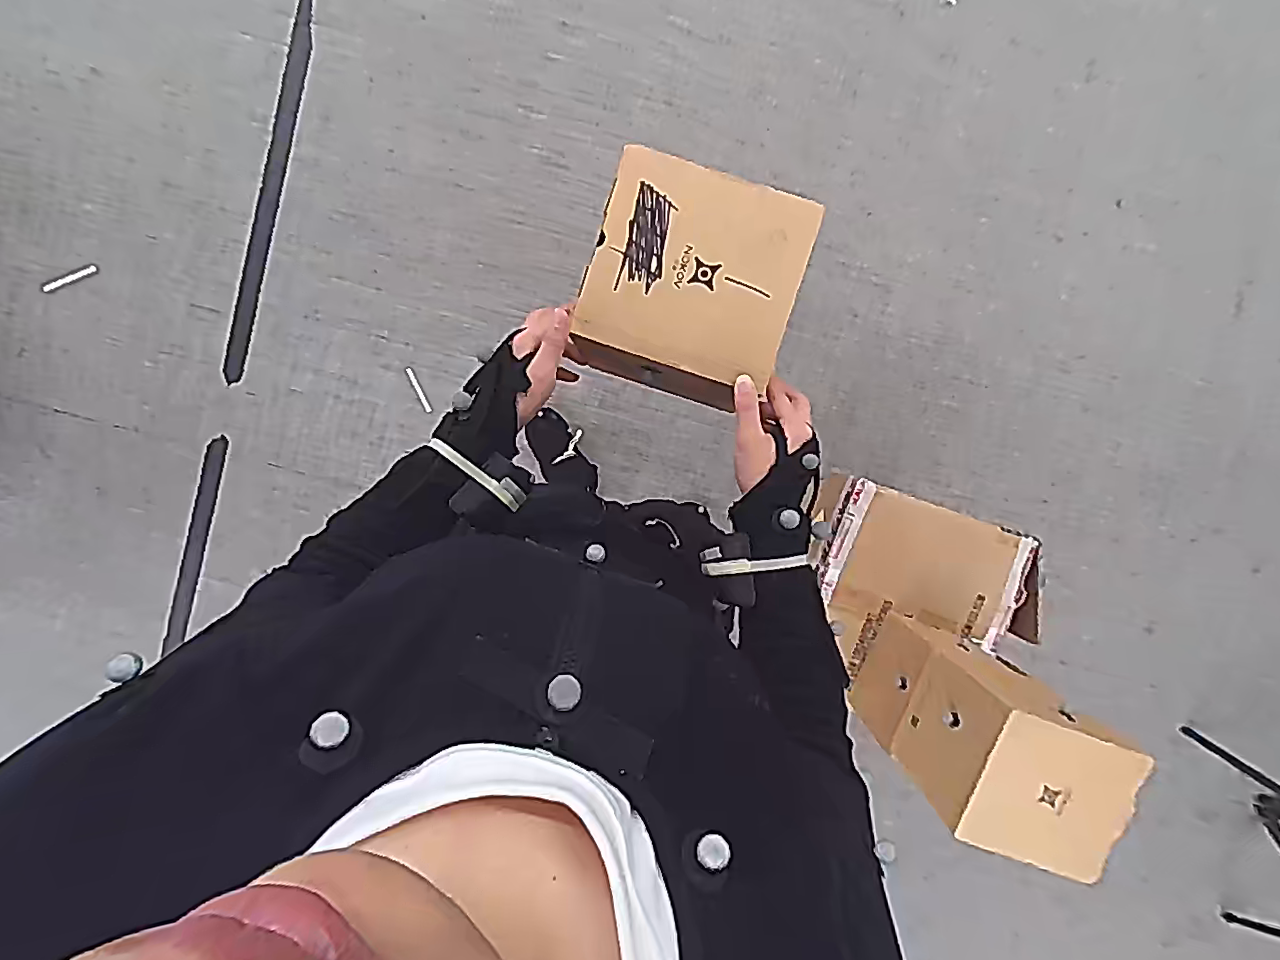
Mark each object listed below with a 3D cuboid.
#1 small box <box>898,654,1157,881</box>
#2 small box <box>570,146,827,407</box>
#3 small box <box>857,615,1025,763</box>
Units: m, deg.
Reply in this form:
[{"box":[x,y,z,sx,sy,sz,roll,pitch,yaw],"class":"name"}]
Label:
[{"box":[0.463,0.342,0.680,0.179,0.176,0.168,19,96,-2],"class":"small box"},{"box":[0.049,-0.176,0.528,0.179,0.176,0.168,18,92,0],"class":"small box"},{"box":[0.468,0.337,0.843,0.168,0.176,0.179,22,96,-1],"class":"small box"}]
